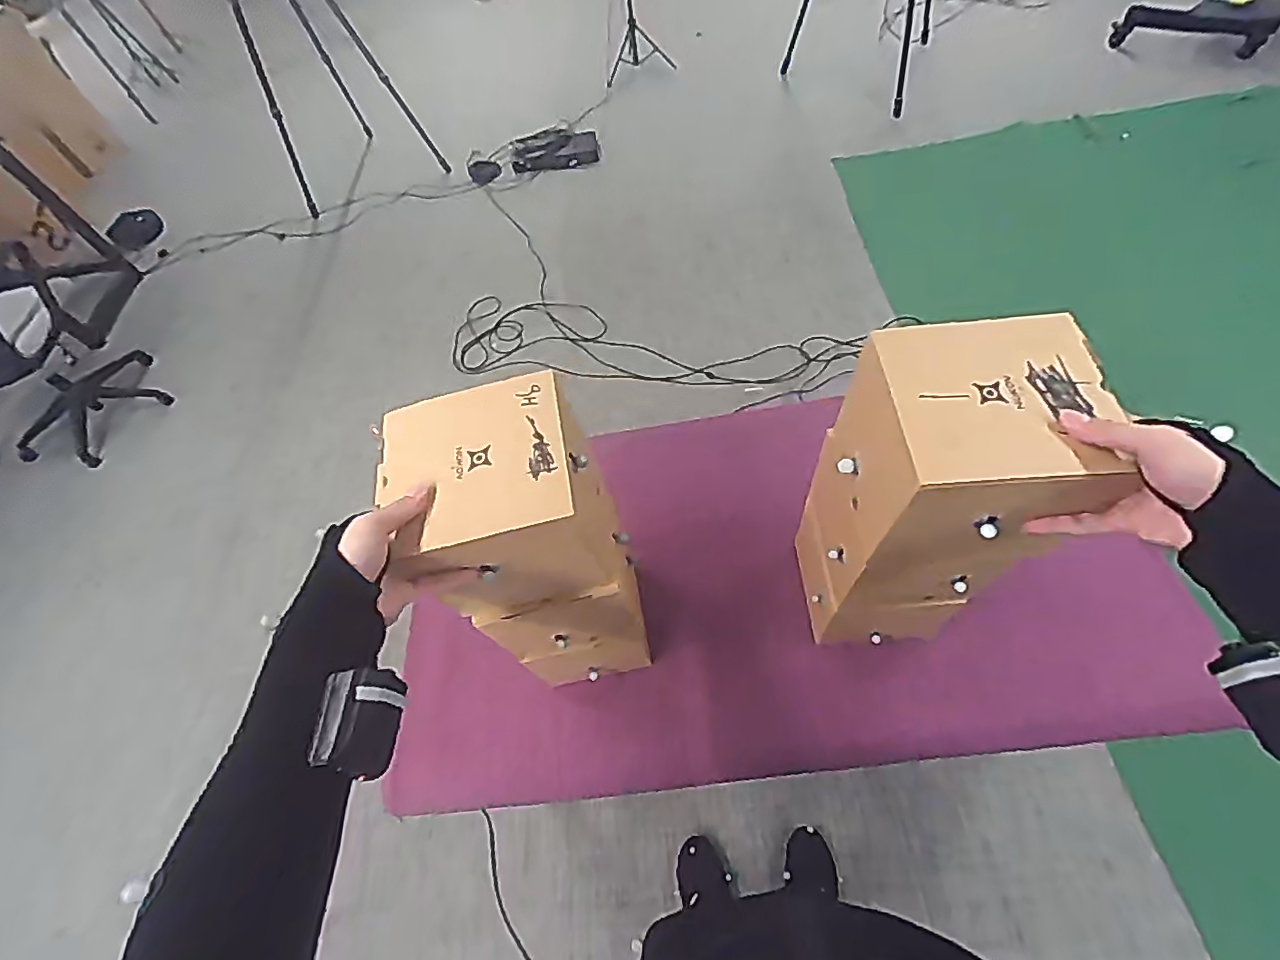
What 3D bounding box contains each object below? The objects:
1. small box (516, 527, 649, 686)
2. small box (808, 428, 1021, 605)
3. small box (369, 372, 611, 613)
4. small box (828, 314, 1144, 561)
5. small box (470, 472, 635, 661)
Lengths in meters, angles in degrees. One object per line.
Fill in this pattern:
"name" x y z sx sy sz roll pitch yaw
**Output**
"small box" -0.087 0.199 0.831 0.168 0.176 0.179 -13 58 2
"small box" 0.313 0.045 0.660 0.168 0.176 0.179 -7 59 5
"small box" -0.142 0.023 0.557 0.179 0.176 0.168 -15 58 4
"small box" 0.296 -0.031 0.514 0.179 0.176 0.168 -4 59 5
"small box" -0.109 0.112 0.695 0.168 0.176 0.179 -14 58 1
